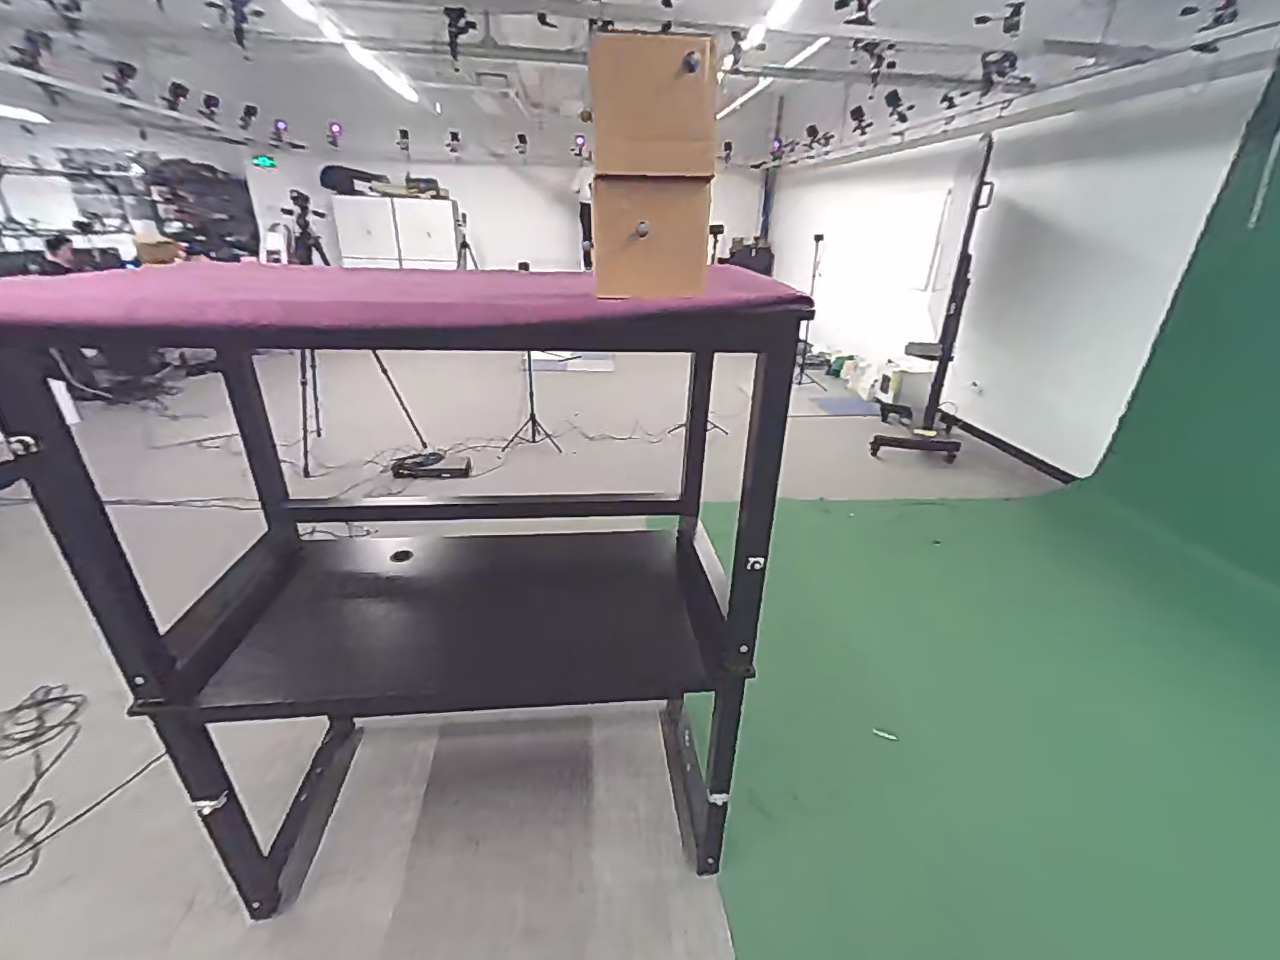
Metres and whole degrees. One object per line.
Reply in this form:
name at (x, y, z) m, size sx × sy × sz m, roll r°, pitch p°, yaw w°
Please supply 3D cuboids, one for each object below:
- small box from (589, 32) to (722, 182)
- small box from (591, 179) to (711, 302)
small box at (0.016, -0.529, 0.804) m, size 0.179 × 0.176 × 0.168 m, roll -2°, pitch 23°, yaw -5°
small box at (0.013, -0.384, 0.880) m, size 0.179 × 0.176 × 0.168 m, roll -2°, pitch 23°, yaw -5°
